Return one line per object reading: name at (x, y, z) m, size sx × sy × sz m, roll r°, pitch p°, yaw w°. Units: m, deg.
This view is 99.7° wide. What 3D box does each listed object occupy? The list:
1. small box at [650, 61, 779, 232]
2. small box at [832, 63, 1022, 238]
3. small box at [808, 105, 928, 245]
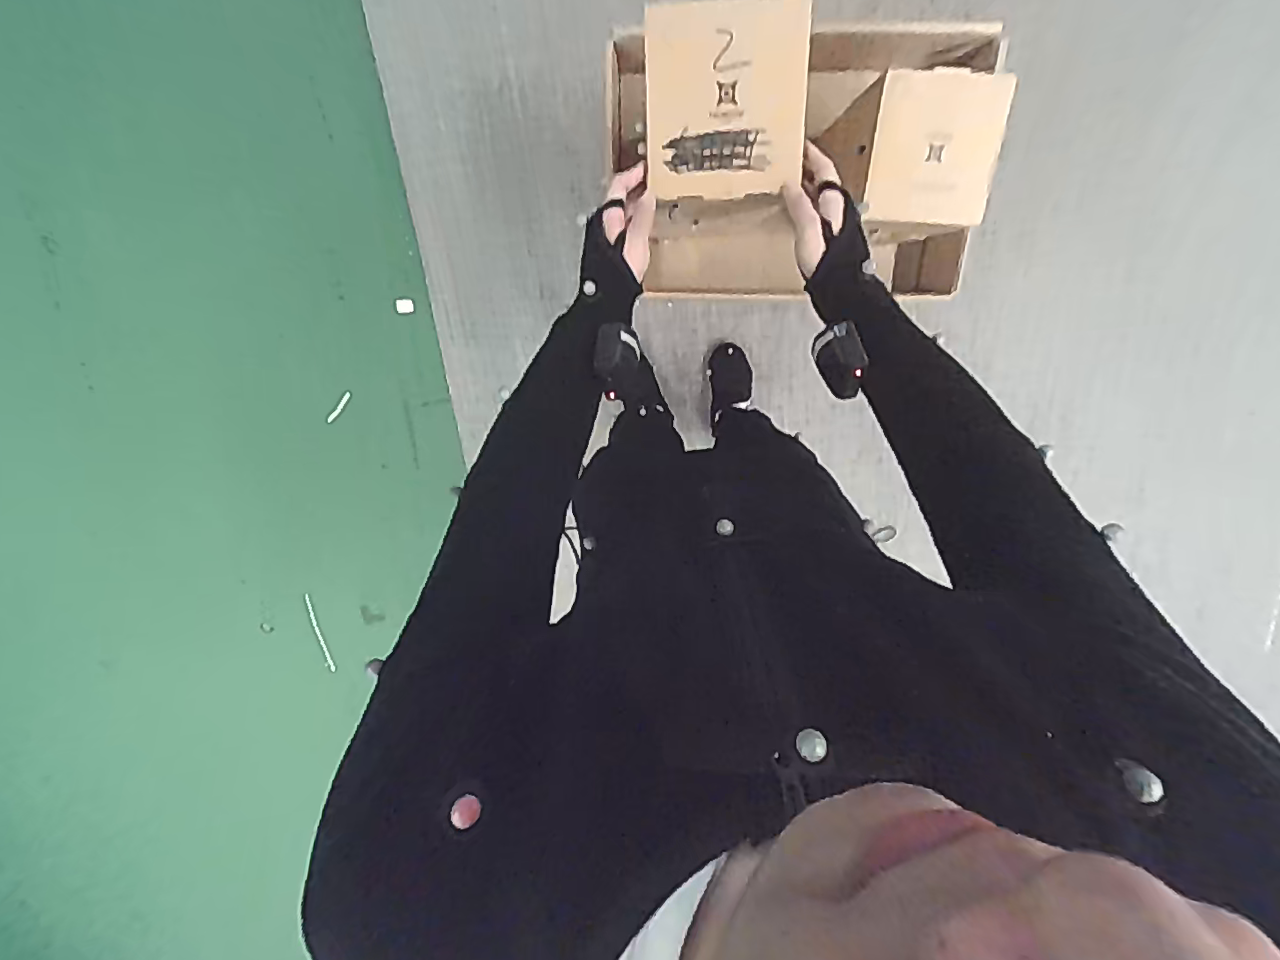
small box at (0.098, -0.465, 0.779) m, size 0.168 × 0.176 × 0.179 m, roll -2°, pitch 109°, yaw 3°
small box at (0.391, -0.455, 0.774) m, size 0.168 × 0.176 × 0.179 m, roll 4°, pitch 110°, yaw 1°
small box at (0.401, -0.510, 0.928) m, size 0.168 × 0.176 × 0.179 m, roll 5°, pitch 110°, yaw 1°
